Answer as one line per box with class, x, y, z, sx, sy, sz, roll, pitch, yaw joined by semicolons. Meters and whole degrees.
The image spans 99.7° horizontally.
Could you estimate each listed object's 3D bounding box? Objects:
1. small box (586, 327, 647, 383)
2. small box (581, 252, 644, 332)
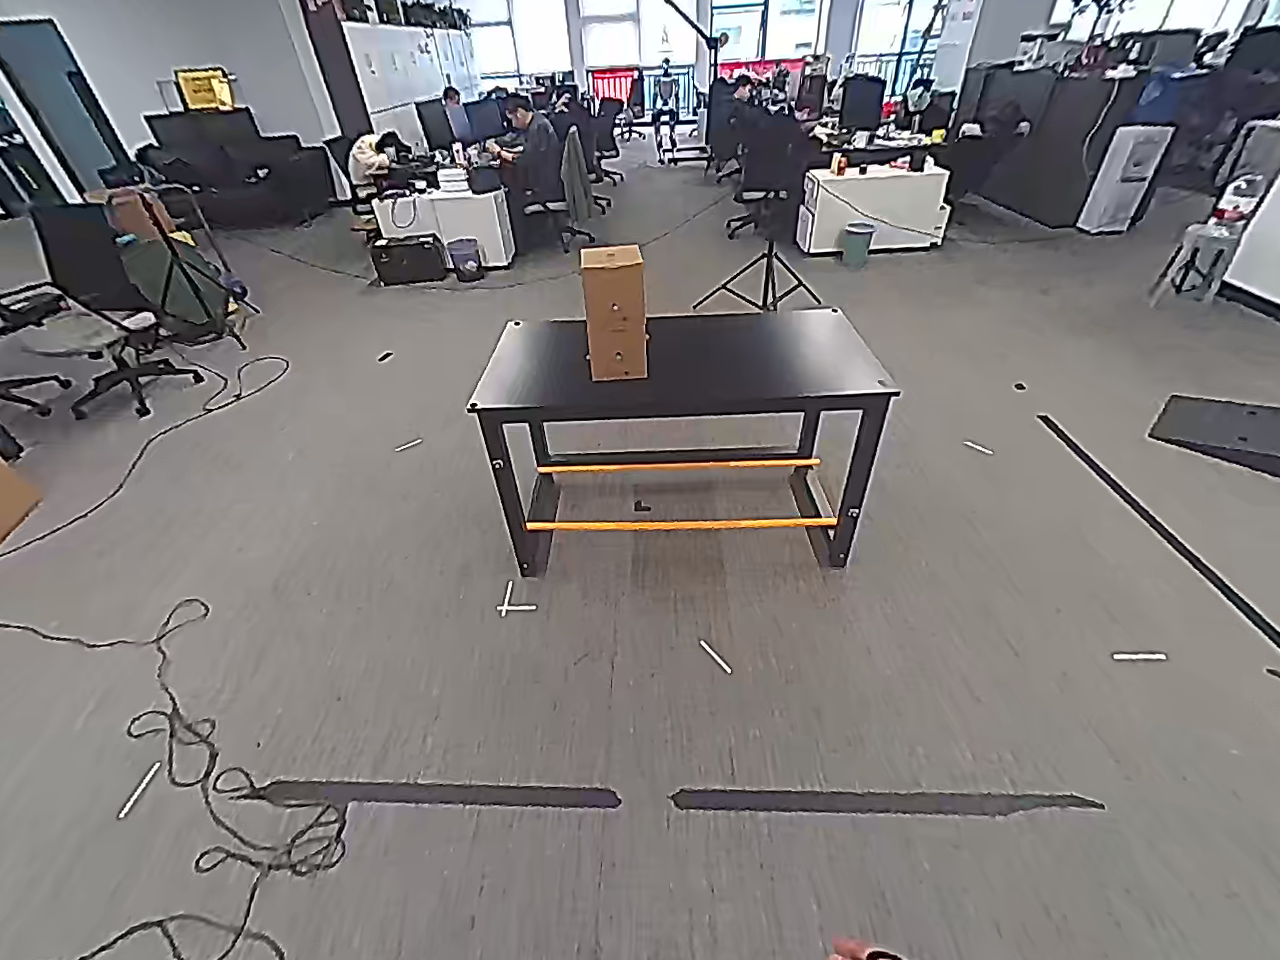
small box;-0.069;-0.403;1.642;0.168;0.176;0.179;-5;39;-1
small box;-0.078;-0.536;1.542;0.168;0.176;0.179;-6;38;-2
